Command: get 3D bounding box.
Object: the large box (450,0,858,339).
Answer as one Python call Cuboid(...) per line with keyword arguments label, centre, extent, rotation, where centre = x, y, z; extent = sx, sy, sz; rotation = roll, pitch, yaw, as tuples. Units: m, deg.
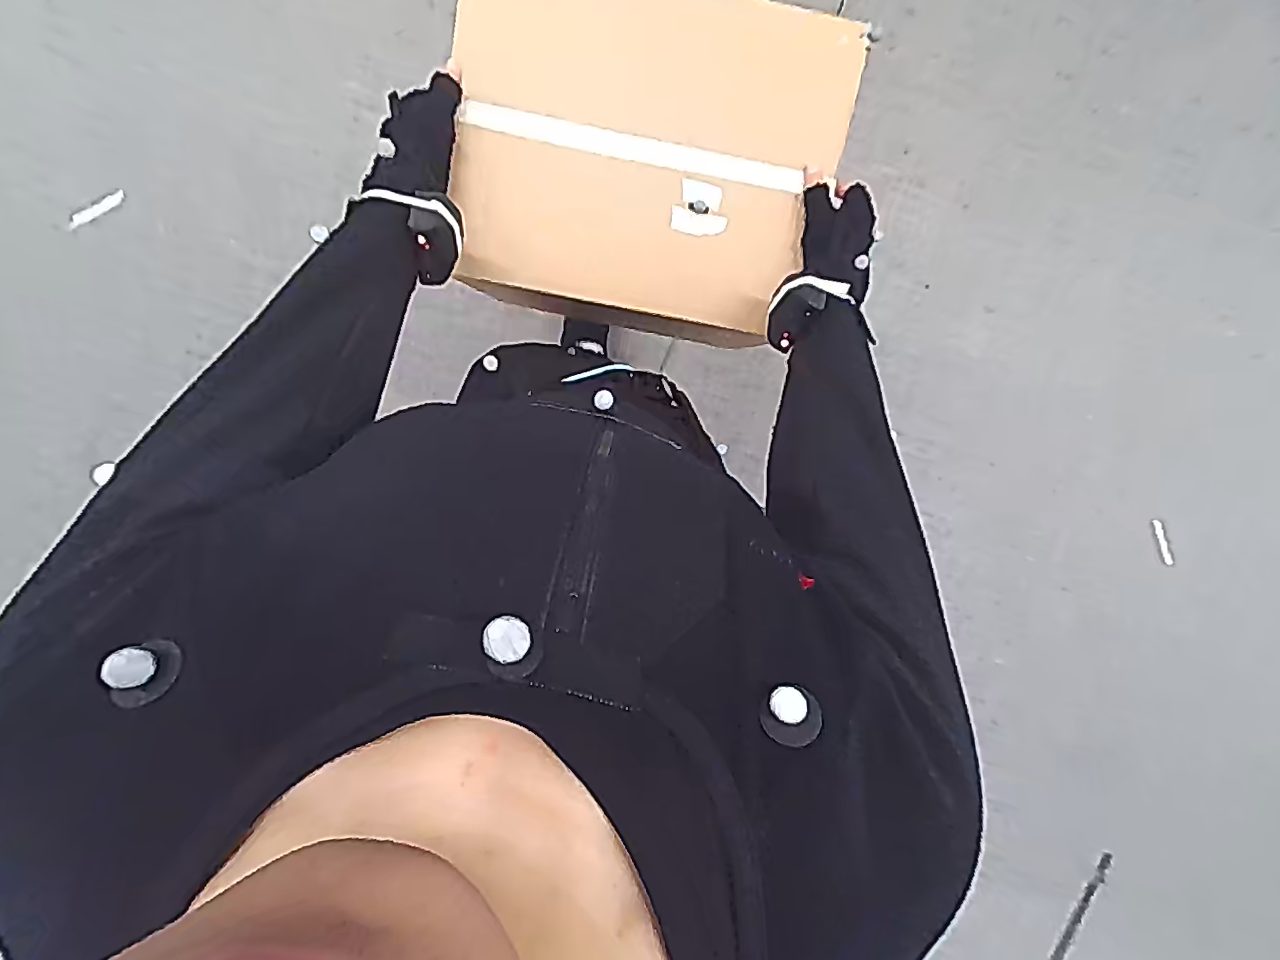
Cuboid(label="large box", centre=(0.001, -0.383, 0.722), extent=(0.408, 0.320, 0.320), rotation=(10, 102, -5))
